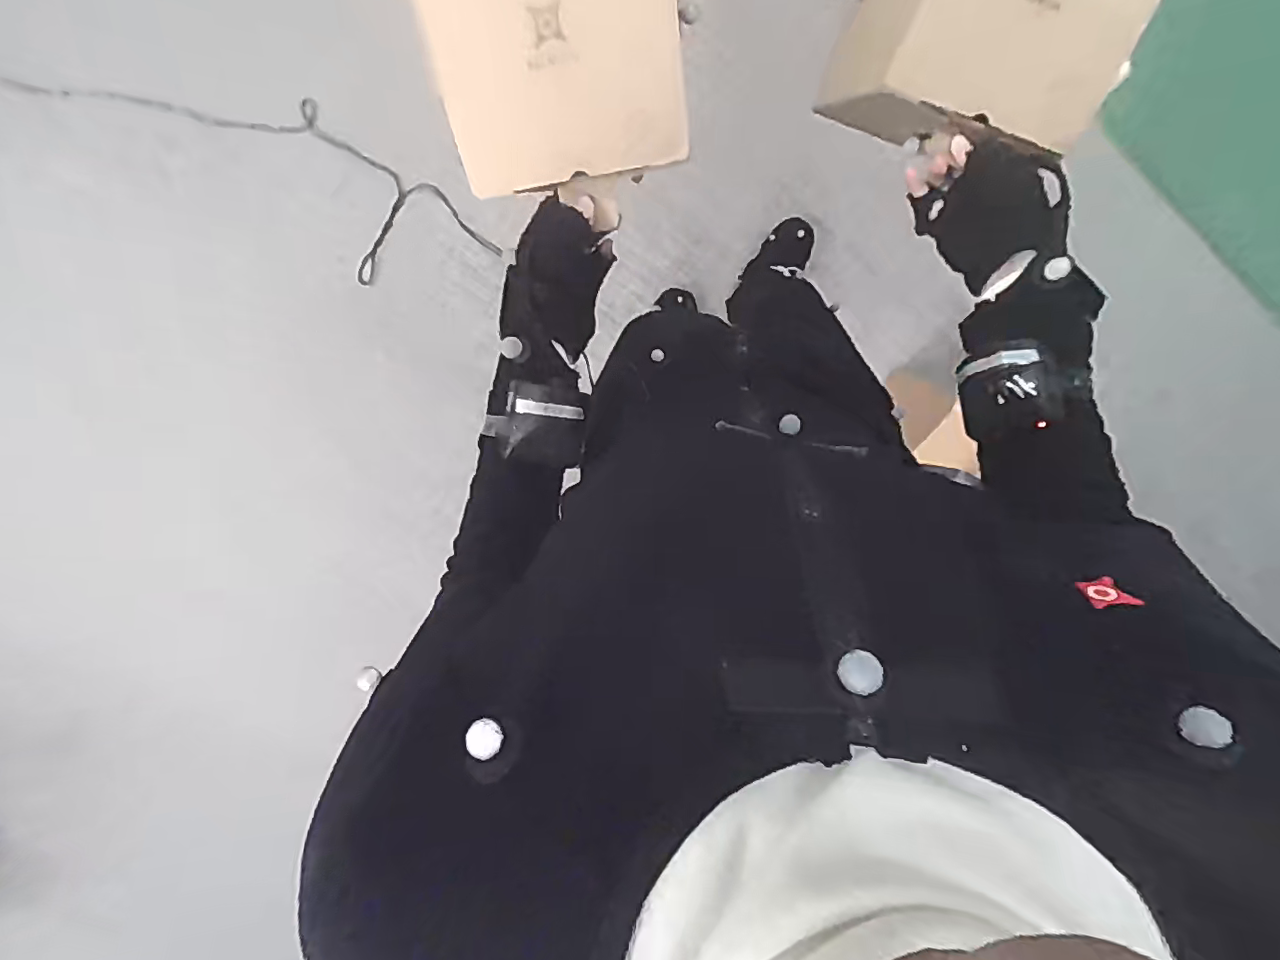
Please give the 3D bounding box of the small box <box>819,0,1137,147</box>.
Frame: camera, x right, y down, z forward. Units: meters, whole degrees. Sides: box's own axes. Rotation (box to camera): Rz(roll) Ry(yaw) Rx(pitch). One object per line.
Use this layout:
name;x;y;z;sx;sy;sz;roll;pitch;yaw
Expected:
small box;0.269;-0.393;0.443;0.168;0.176;0.179;12;119;-10

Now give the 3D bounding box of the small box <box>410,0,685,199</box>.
small box;-0.058;-0.339;0.414;0.168;0.176;0.179;-8;124;8
